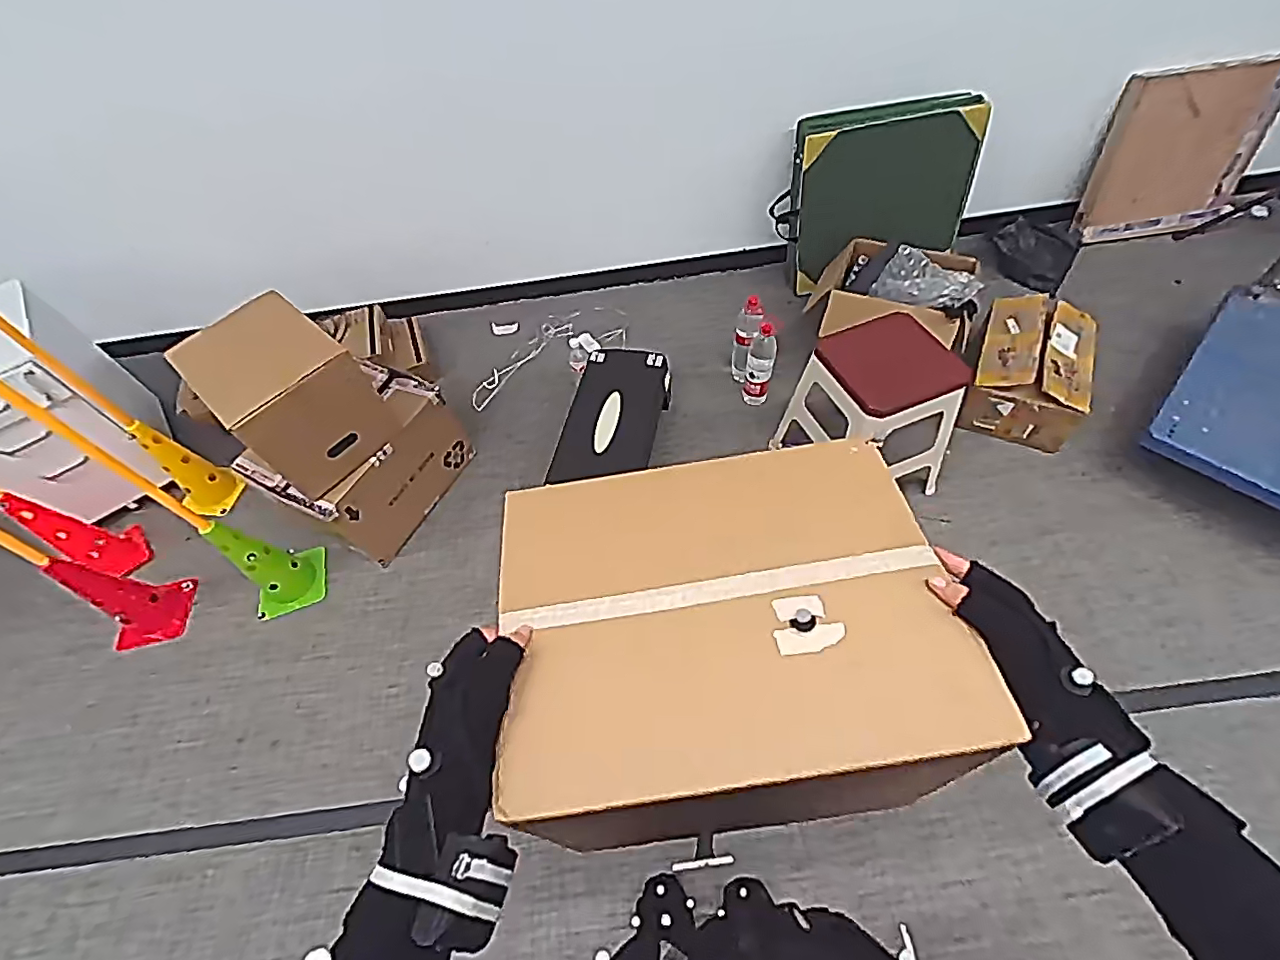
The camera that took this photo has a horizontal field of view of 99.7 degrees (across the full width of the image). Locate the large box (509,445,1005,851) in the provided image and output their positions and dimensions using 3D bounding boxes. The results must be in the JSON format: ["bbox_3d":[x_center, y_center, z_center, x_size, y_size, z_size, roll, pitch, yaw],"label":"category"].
[{"bbox_3d":[0.087,0.202,0.627,0.408,0.320,0.320,-9,51,0],"label":"large box"}]
